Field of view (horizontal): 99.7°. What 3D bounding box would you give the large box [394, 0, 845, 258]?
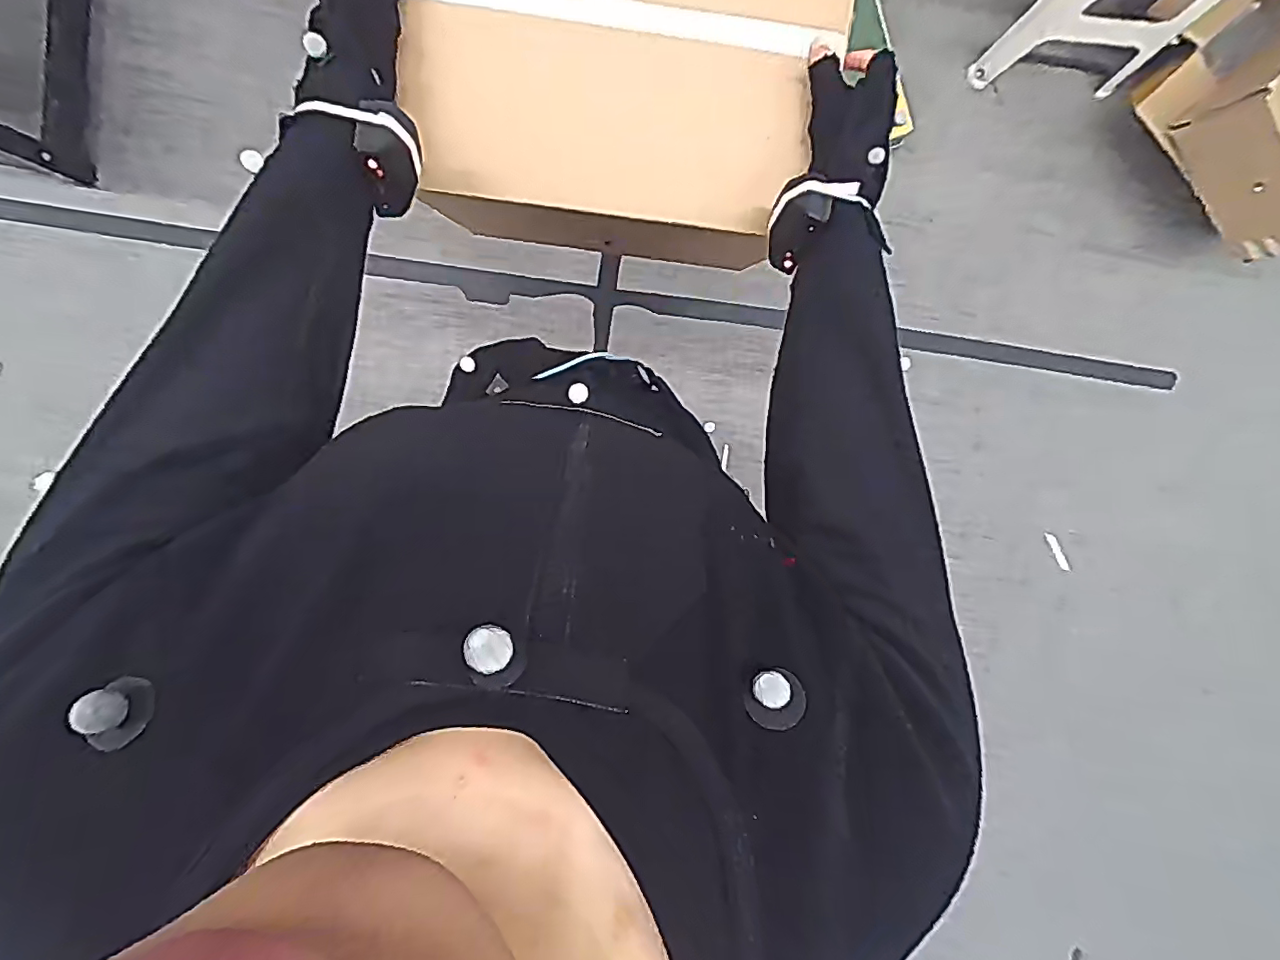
[{"bbox_3d":[-0.020,-0.452,0.624,0.408,0.320,0.320,6,105,-4],"label":"large box"}]
